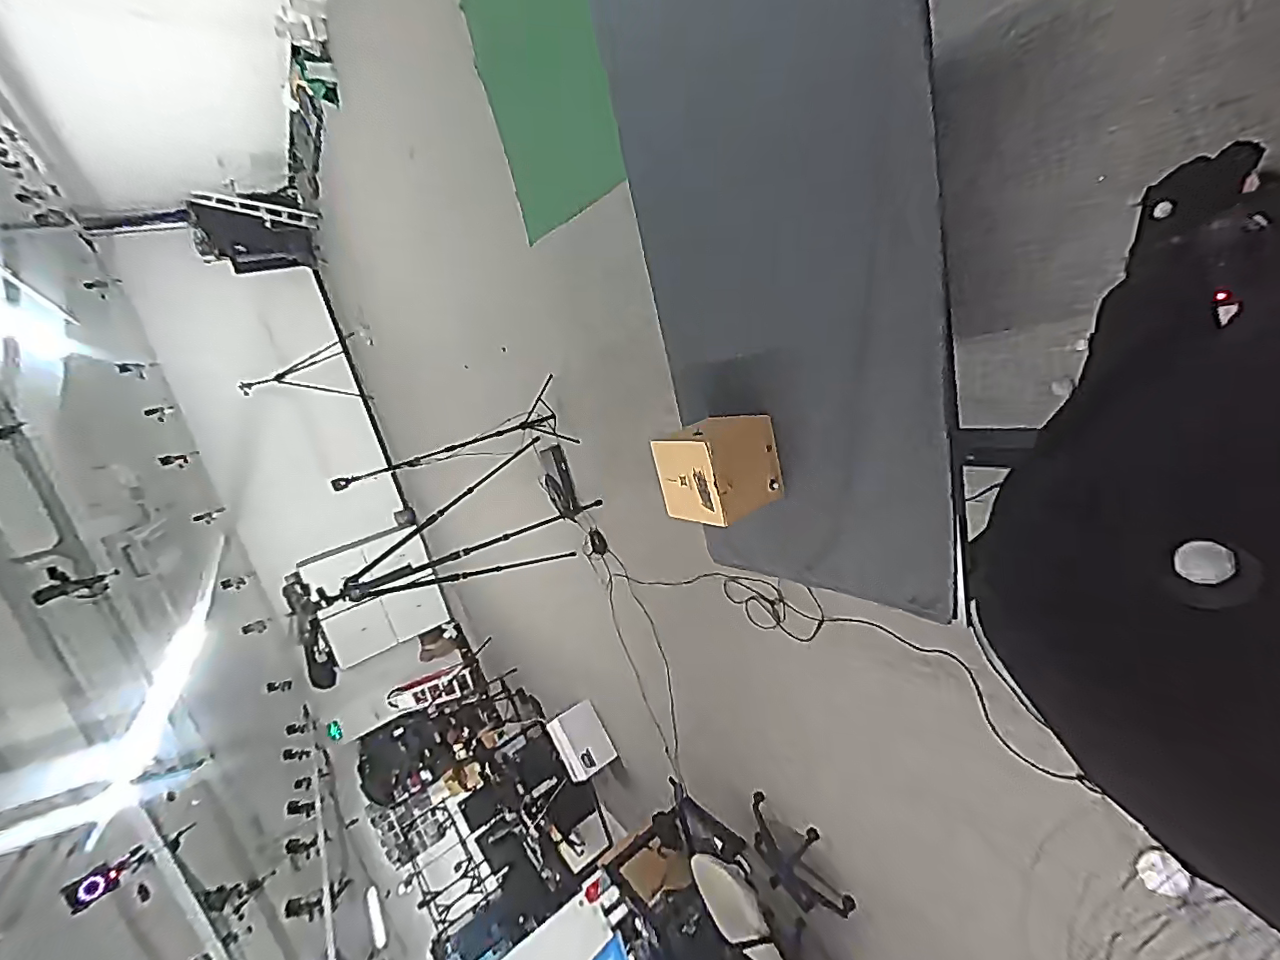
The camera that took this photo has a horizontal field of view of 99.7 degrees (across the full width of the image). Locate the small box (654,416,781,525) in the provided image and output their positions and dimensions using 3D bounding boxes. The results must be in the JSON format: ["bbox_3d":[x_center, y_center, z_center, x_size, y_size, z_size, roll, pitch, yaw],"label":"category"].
[{"bbox_3d":[0.160,-0.026,1.072,0.179,0.176,0.168,6,115,56],"label":"small box"}]
